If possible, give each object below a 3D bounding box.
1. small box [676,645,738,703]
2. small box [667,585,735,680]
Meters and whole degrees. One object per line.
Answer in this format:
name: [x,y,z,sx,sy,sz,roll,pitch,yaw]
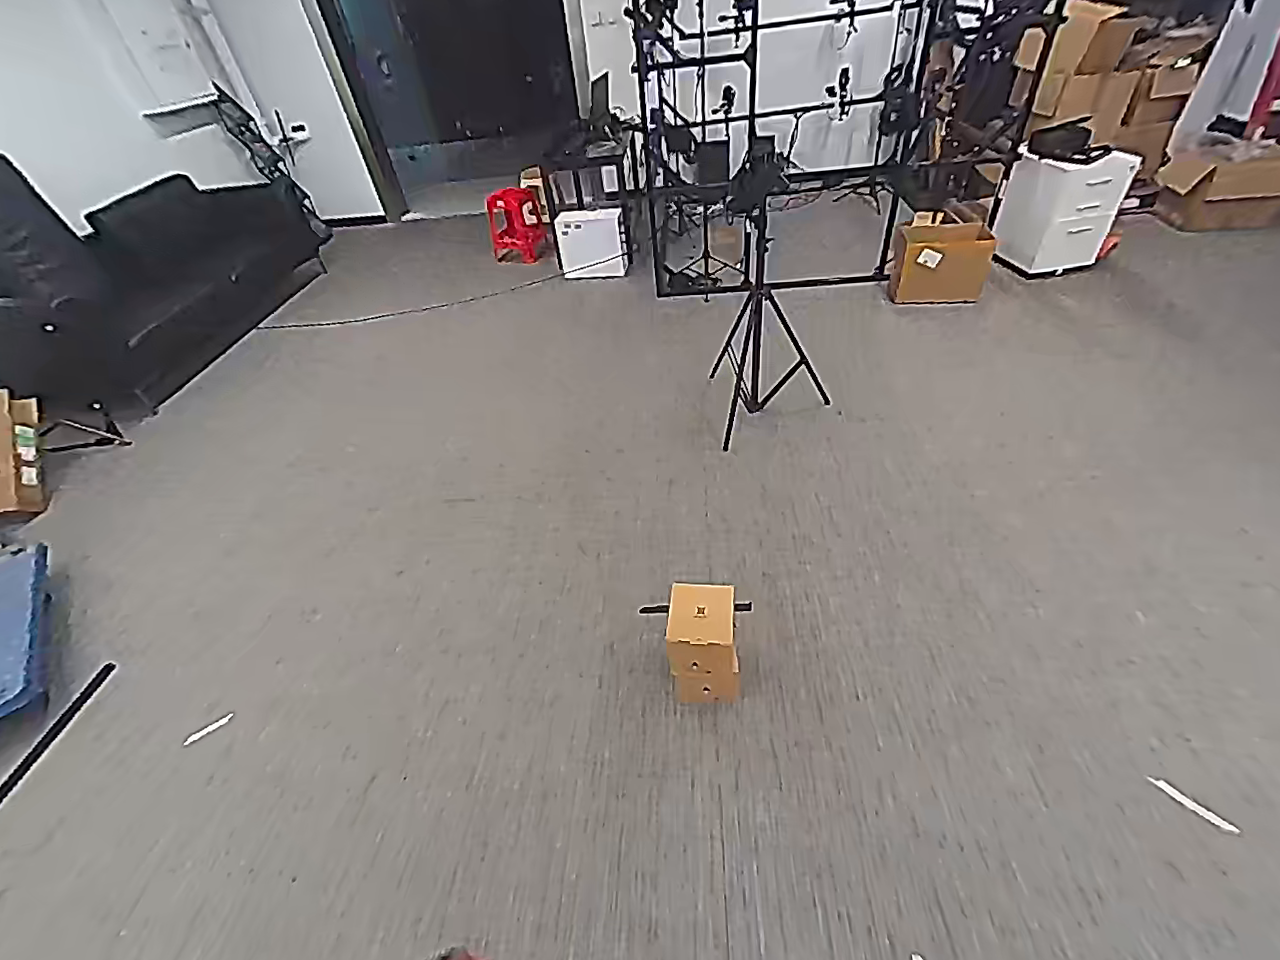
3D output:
small box: [0.190,0.520,1.541,0.168,0.176,0.179,-3,41,5]
small box: [0.166,0.402,1.431,0.168,0.176,0.179,1,43,10]
